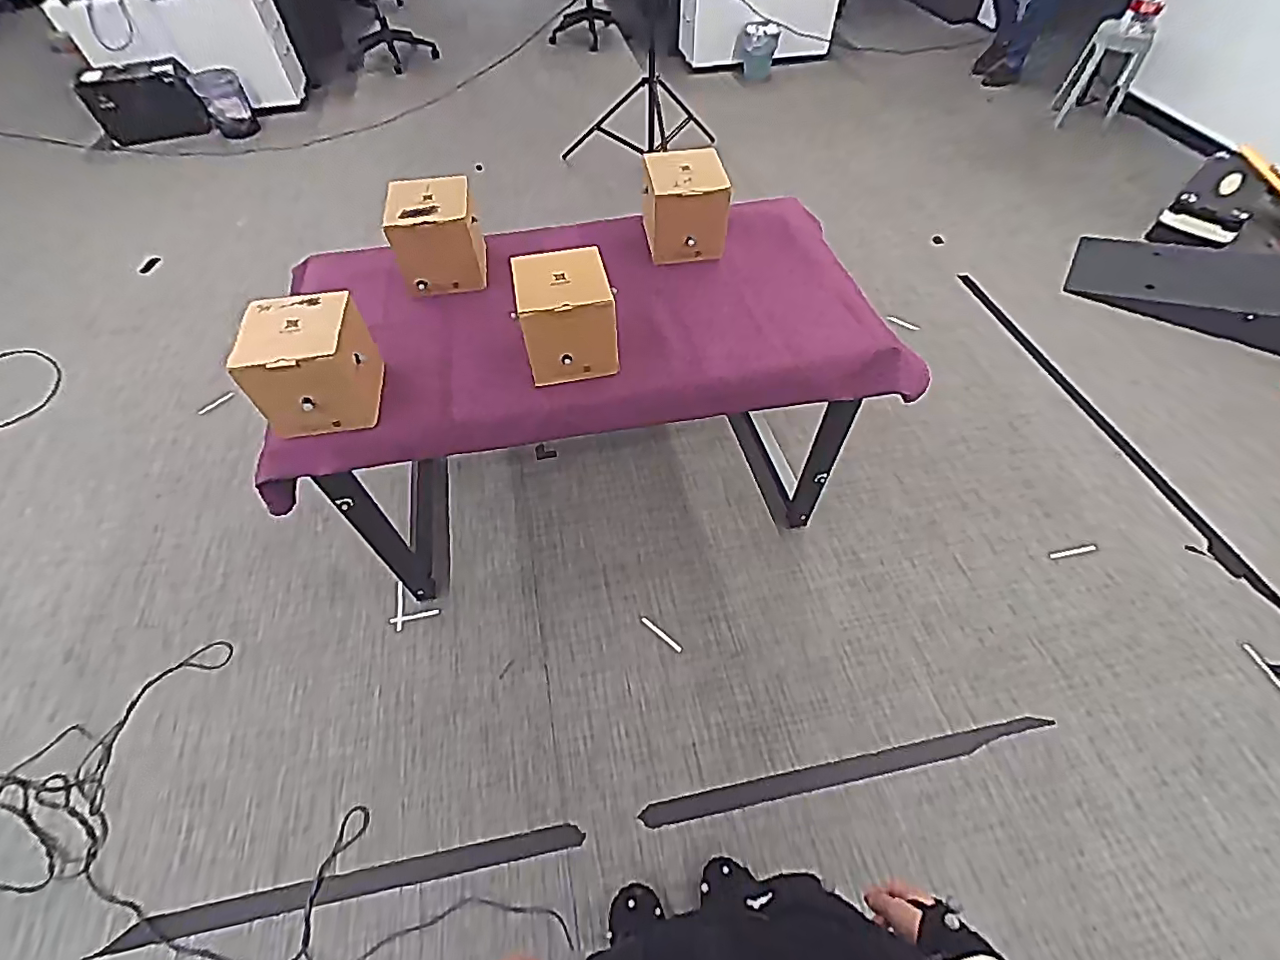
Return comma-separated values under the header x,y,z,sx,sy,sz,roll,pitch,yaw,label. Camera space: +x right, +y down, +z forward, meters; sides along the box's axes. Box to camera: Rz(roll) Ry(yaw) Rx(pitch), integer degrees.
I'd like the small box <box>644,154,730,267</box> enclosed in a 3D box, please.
x,y,z,sx,sy,sz,roll,pitch,yaw,label
0.100,-0.620,1.248,0.168,0.176,0.179,-8,57,-3,small box

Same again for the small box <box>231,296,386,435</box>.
x,y,z,sx,sy,sz,roll,pitch,yaw,label
-0.569,-0.194,0.957,0.168,0.176,0.179,-9,55,-6,small box

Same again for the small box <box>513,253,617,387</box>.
x,y,z,sx,sy,sz,roll,pitch,yaw,label
-0.141,-0.304,1.032,0.168,0.176,0.179,-11,54,-7,small box

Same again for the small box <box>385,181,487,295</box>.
x,y,z,sx,sy,sz,roll,pitch,yaw,label
-0.439,-0.524,1.190,0.168,0.176,0.179,-8,55,-5,small box
